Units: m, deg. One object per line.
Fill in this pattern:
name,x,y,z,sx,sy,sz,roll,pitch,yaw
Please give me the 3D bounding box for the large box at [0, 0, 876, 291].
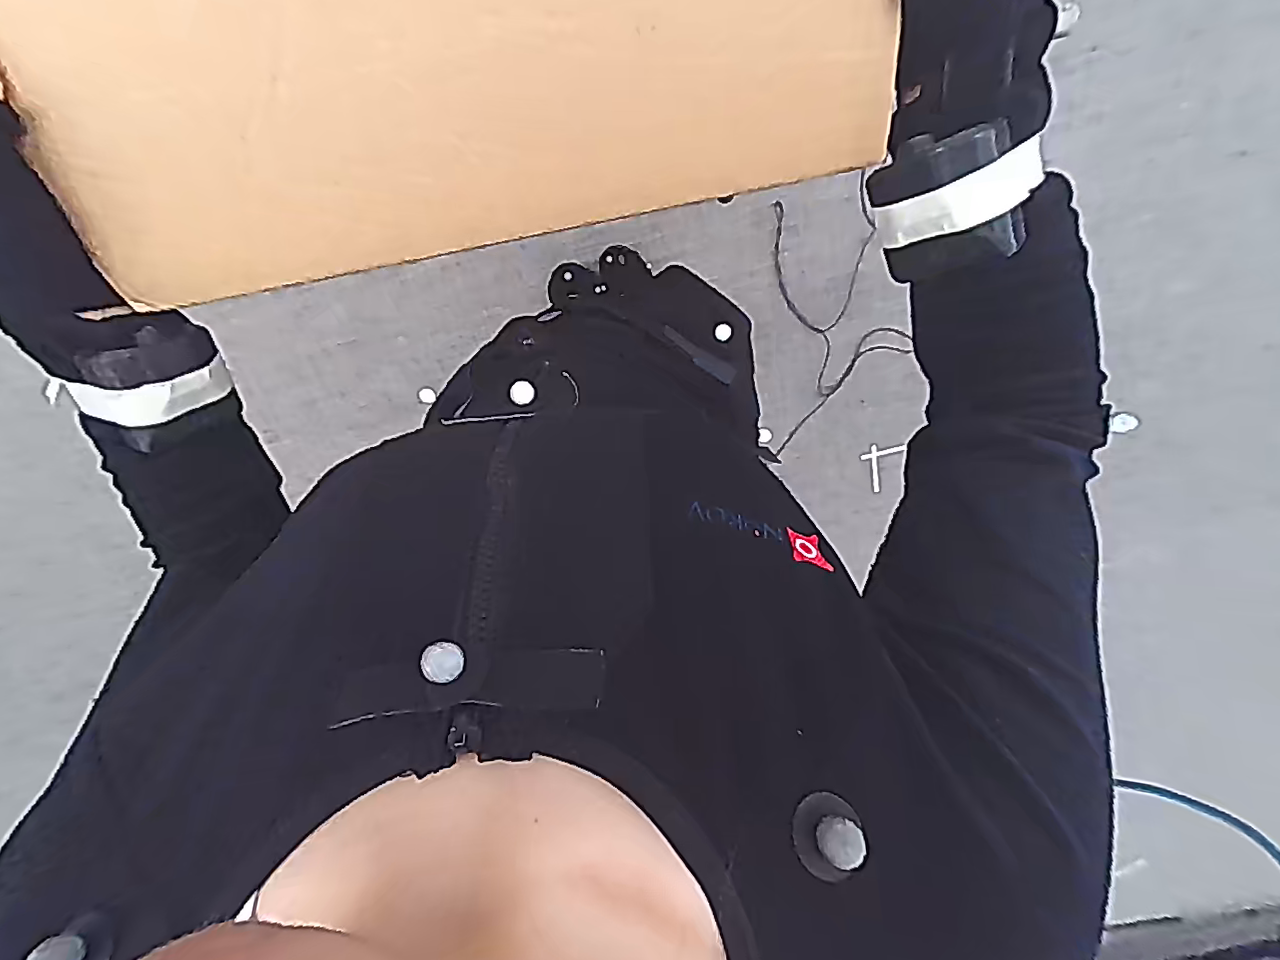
large box,-0.113,-0.349,0.304,0.408,0.320,0.320,-10,129,4
